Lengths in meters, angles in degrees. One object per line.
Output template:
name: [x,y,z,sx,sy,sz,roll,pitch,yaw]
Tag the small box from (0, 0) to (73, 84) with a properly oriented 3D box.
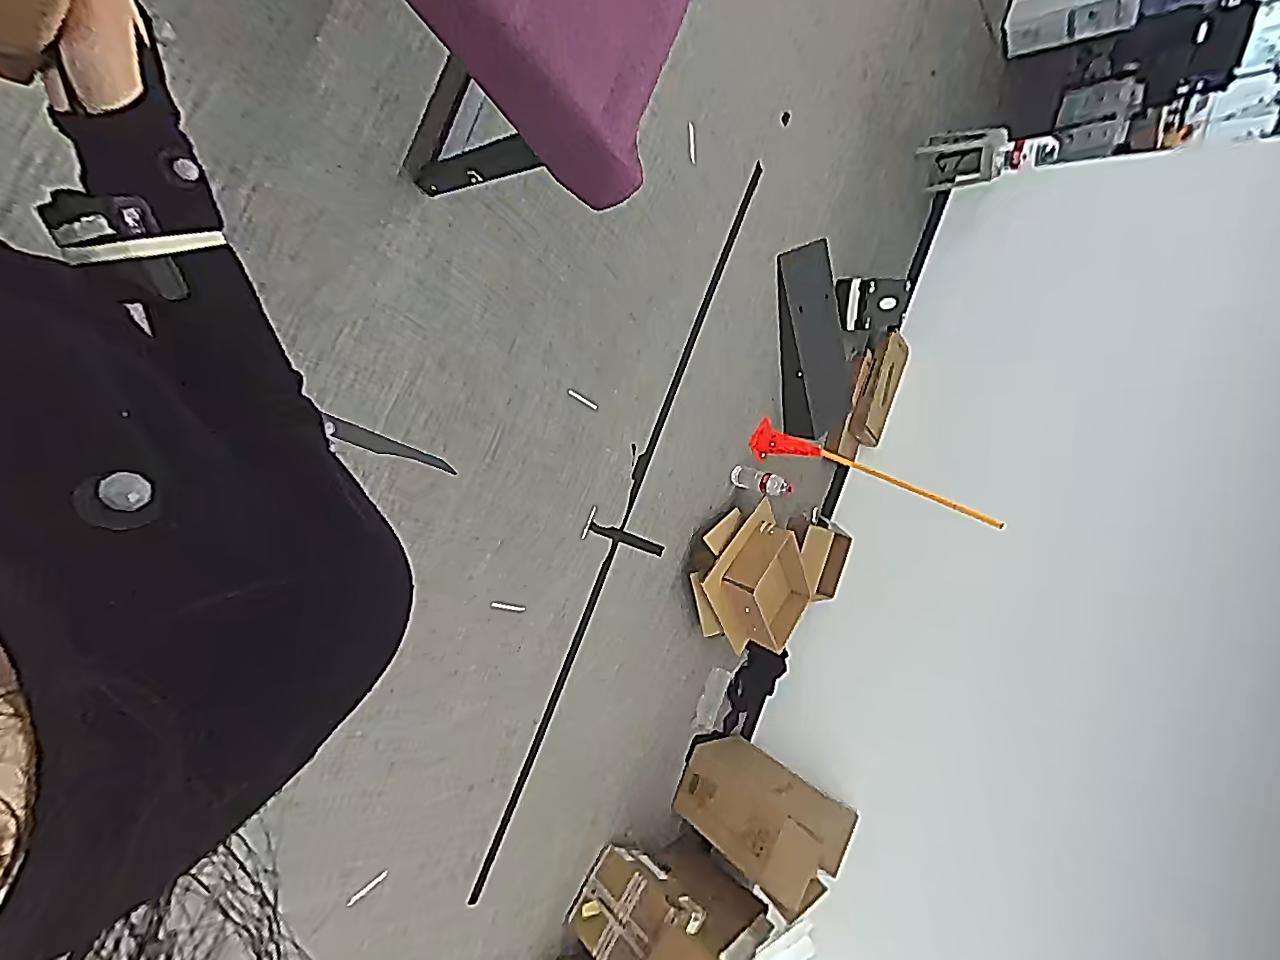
small box: [-0.344,-0.305,0.210,0.168,0.176,0.179,-5,99,-53]
